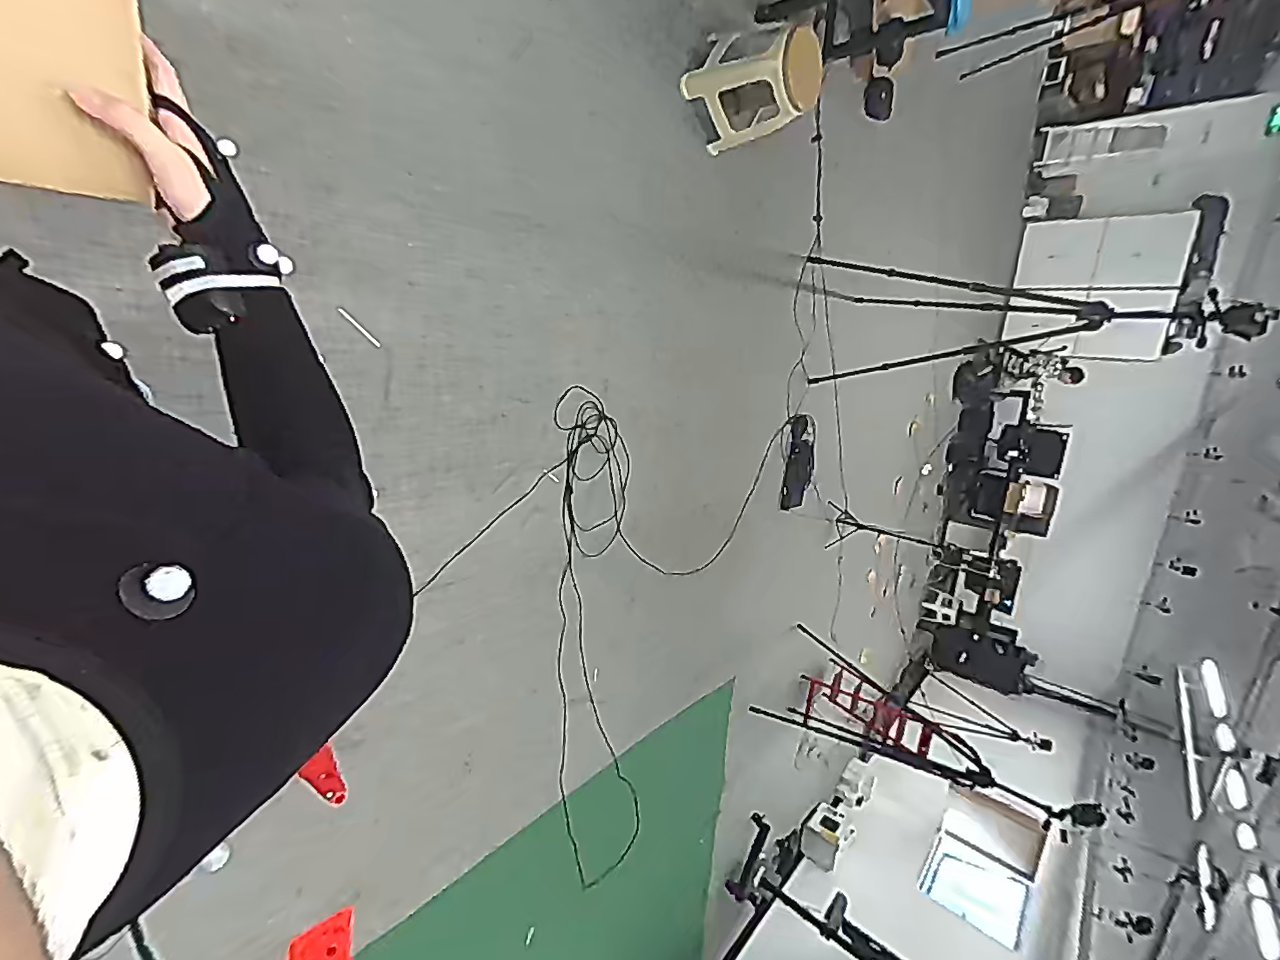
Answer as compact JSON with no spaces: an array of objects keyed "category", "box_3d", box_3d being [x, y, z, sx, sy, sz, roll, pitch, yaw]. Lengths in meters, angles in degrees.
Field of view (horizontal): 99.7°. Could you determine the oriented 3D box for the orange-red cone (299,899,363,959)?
[{"category":"orange-red cone","box_3d":[-0.947,1.622,1.771,0.199,0.360,0.198,-3,105,-50]}]
